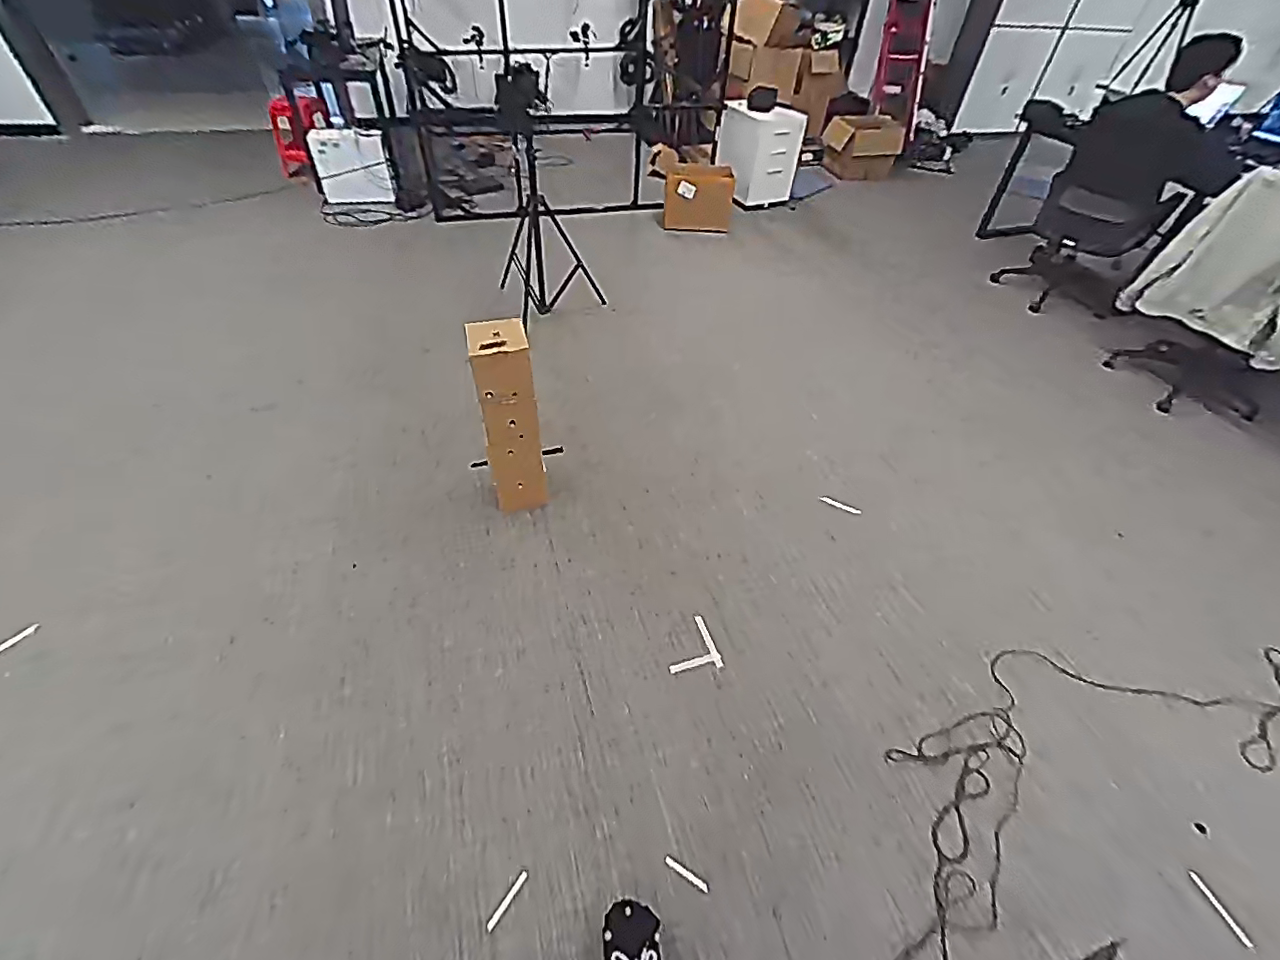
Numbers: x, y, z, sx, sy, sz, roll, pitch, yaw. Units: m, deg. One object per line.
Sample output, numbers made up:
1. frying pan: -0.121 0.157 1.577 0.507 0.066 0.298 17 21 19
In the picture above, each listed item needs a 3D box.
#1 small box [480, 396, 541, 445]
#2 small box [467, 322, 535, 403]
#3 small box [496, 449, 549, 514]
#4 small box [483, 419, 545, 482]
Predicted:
1. small box: -0.411 -0.227 1.714 0.168 0.176 0.179 -9 48 -12
2. small box: -0.408 -0.342 1.596 0.168 0.176 0.179 -10 47 -12
3. small box: -0.427 0.001 1.950 0.179 0.176 0.168 -11 48 -13
4. small box: -0.426 -0.110 1.828 0.179 0.176 0.168 -9 48 -11
